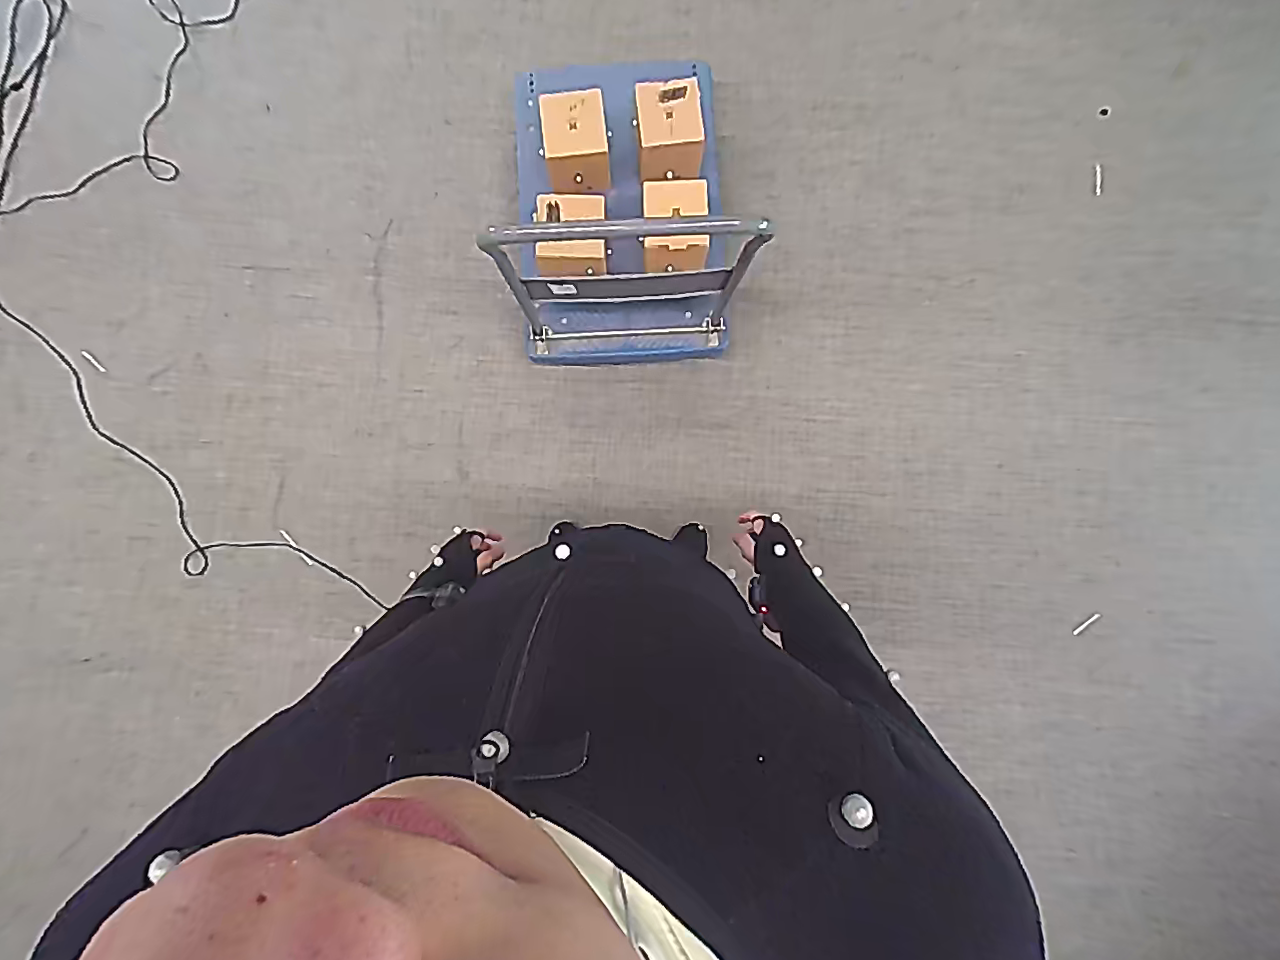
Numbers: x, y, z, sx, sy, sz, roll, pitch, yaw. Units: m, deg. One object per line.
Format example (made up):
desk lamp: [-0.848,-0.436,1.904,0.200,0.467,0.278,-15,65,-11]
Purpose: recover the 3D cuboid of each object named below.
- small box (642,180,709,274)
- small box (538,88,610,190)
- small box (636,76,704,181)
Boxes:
small box: [0.091,-0.675,1.454,0.168,0.176,0.179,-2,87,-1]
small box: [-0.174,-0.913,1.467,0.168,0.176,0.179,-6,87,-1]
small box: [0.076,-0.944,1.469,0.168,0.176,0.179,-7,87,0]
